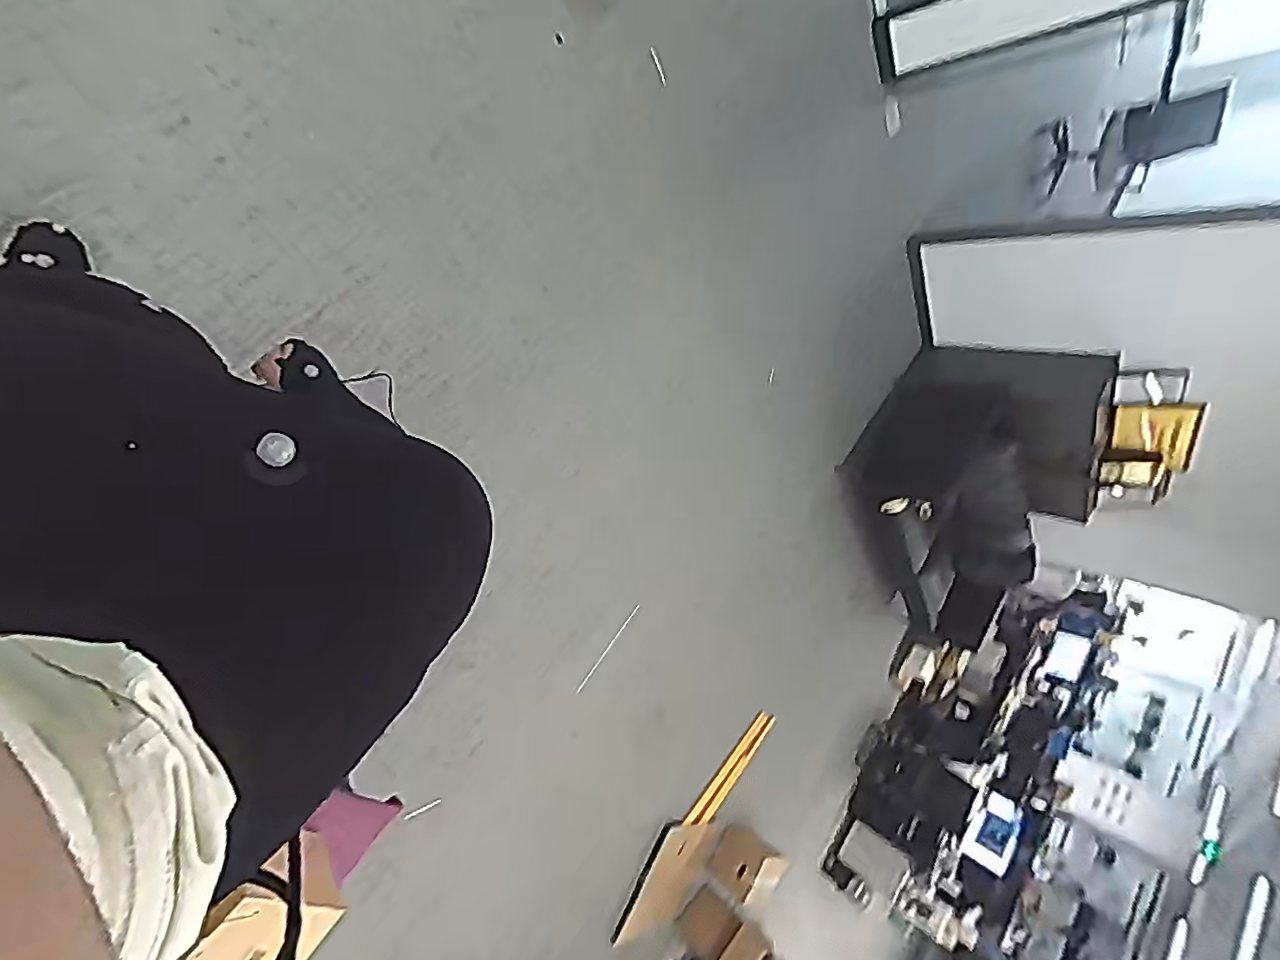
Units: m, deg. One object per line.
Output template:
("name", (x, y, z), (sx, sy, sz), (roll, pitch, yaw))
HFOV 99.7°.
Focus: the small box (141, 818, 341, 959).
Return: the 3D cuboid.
("small box", (-0.605, 0.658, 0.825), (0.168, 0.176, 0.179), (-50, 131, -16))
